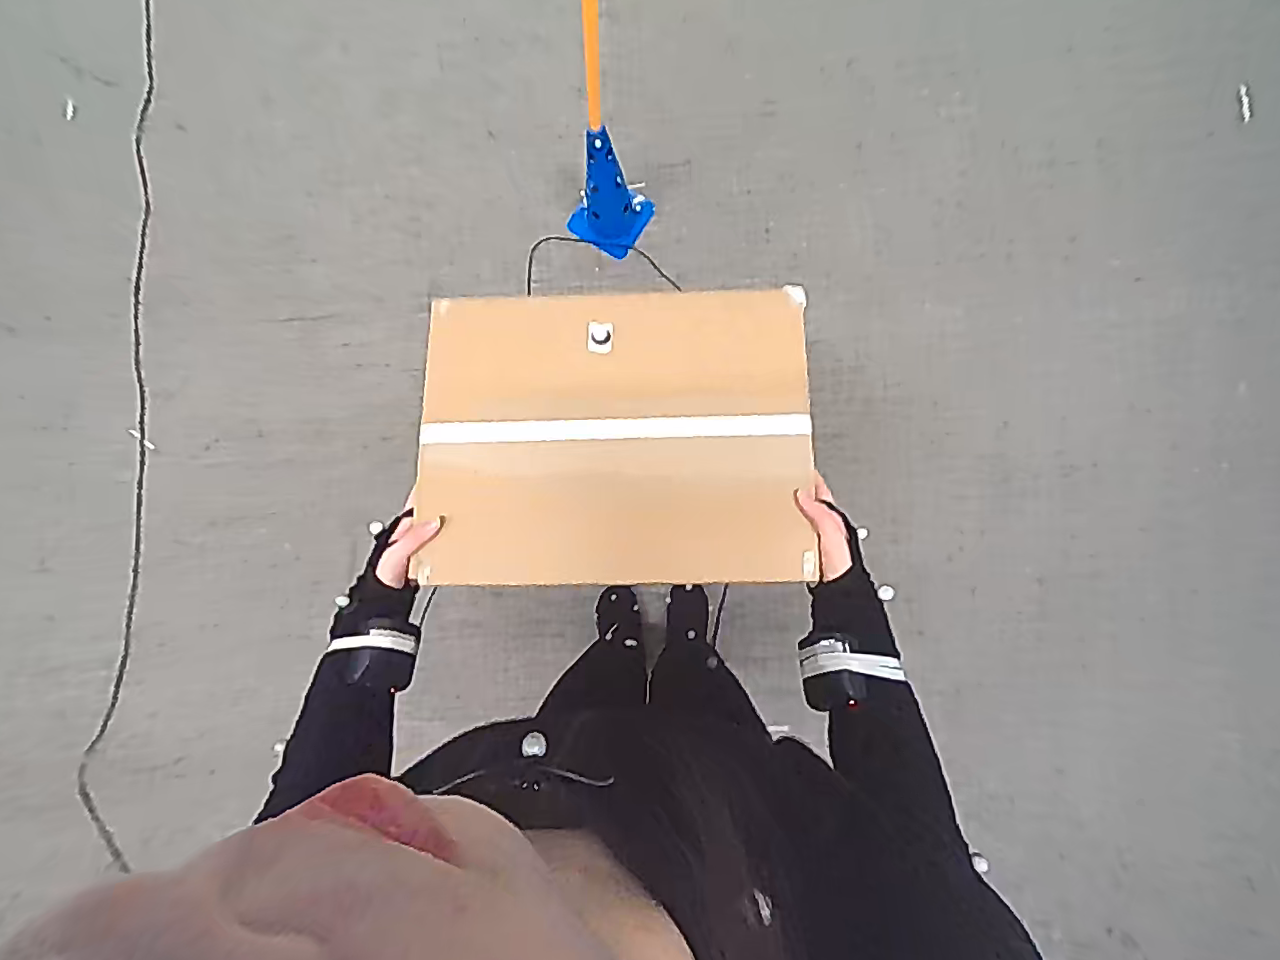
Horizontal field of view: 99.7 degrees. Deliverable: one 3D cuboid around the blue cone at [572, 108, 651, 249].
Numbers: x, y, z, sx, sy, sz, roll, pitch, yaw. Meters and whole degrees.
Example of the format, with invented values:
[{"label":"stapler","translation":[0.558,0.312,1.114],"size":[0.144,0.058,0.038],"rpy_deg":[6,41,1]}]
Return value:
[{"label":"blue cone","translation":[-0.088,-0.782,1.367],"size":[0.192,0.380,0.193],"rpy_deg":[30,86,4]}]
